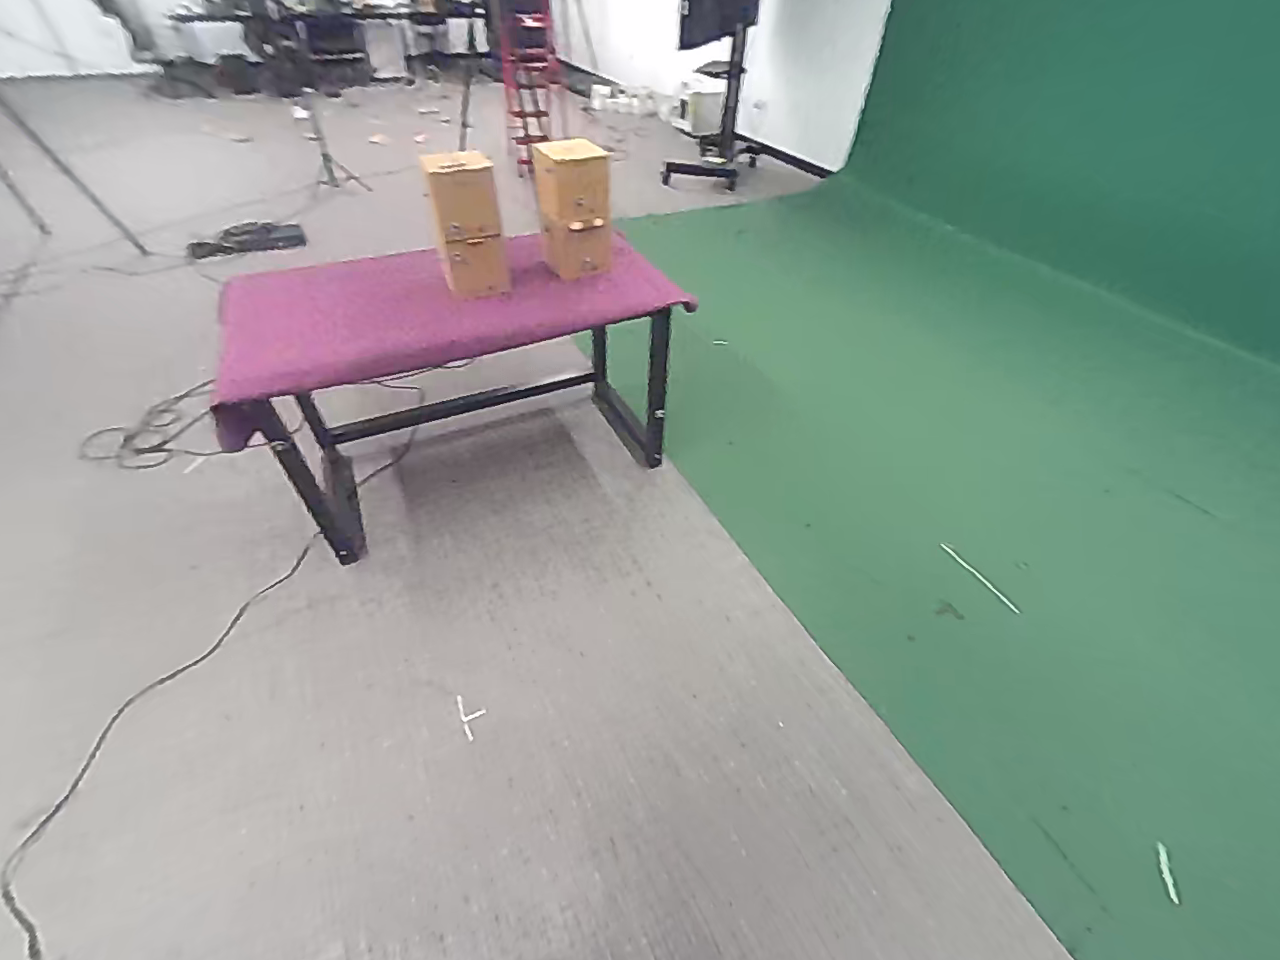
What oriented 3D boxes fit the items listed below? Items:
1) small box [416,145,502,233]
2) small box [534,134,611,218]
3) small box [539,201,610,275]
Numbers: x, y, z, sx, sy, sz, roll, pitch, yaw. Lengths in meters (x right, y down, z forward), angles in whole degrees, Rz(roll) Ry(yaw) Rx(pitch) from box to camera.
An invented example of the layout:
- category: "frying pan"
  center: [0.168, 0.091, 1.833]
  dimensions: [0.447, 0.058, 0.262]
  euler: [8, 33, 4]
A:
- category: "small box"
  center: [-0.480, -0.775, 1.448]
  dimensions: [0.168, 0.176, 0.179]
  euler: [-18, 47, -19]
- category: "small box"
  center: [-0.196, -0.879, 1.564]
  dimensions: [0.168, 0.176, 0.179]
  euler: [-20, 50, -21]
- category: "small box"
  center: [-0.202, -0.761, 1.677]
  dimensions: [0.168, 0.176, 0.179]
  euler: [-21, 50, -20]
